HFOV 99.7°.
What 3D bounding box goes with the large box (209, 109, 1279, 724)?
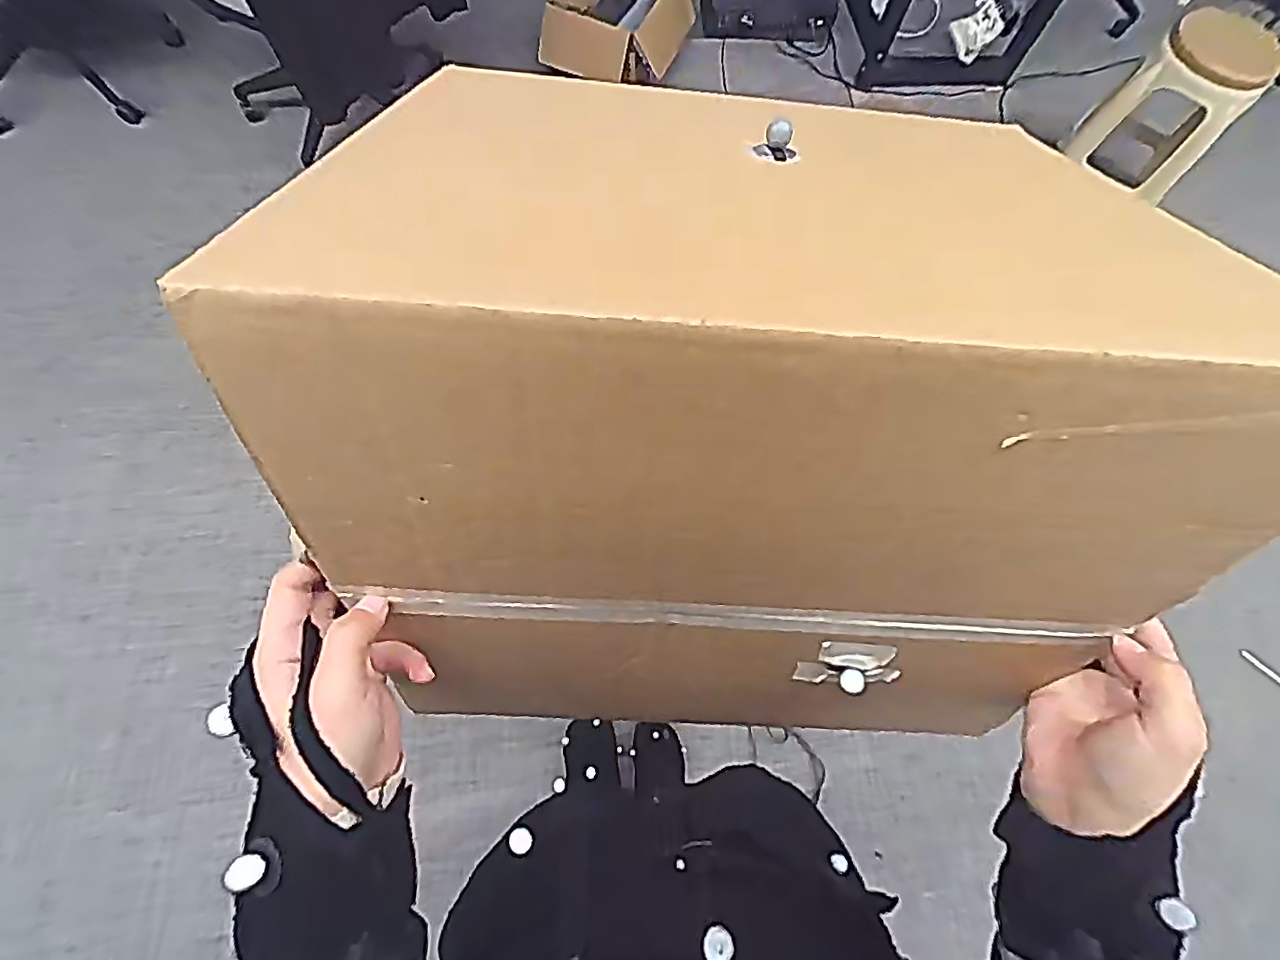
[{"bbox_3d":[0.050,-0.041,0.385,0.408,0.320,0.320,3,47,-3],"label":"large box"}]
